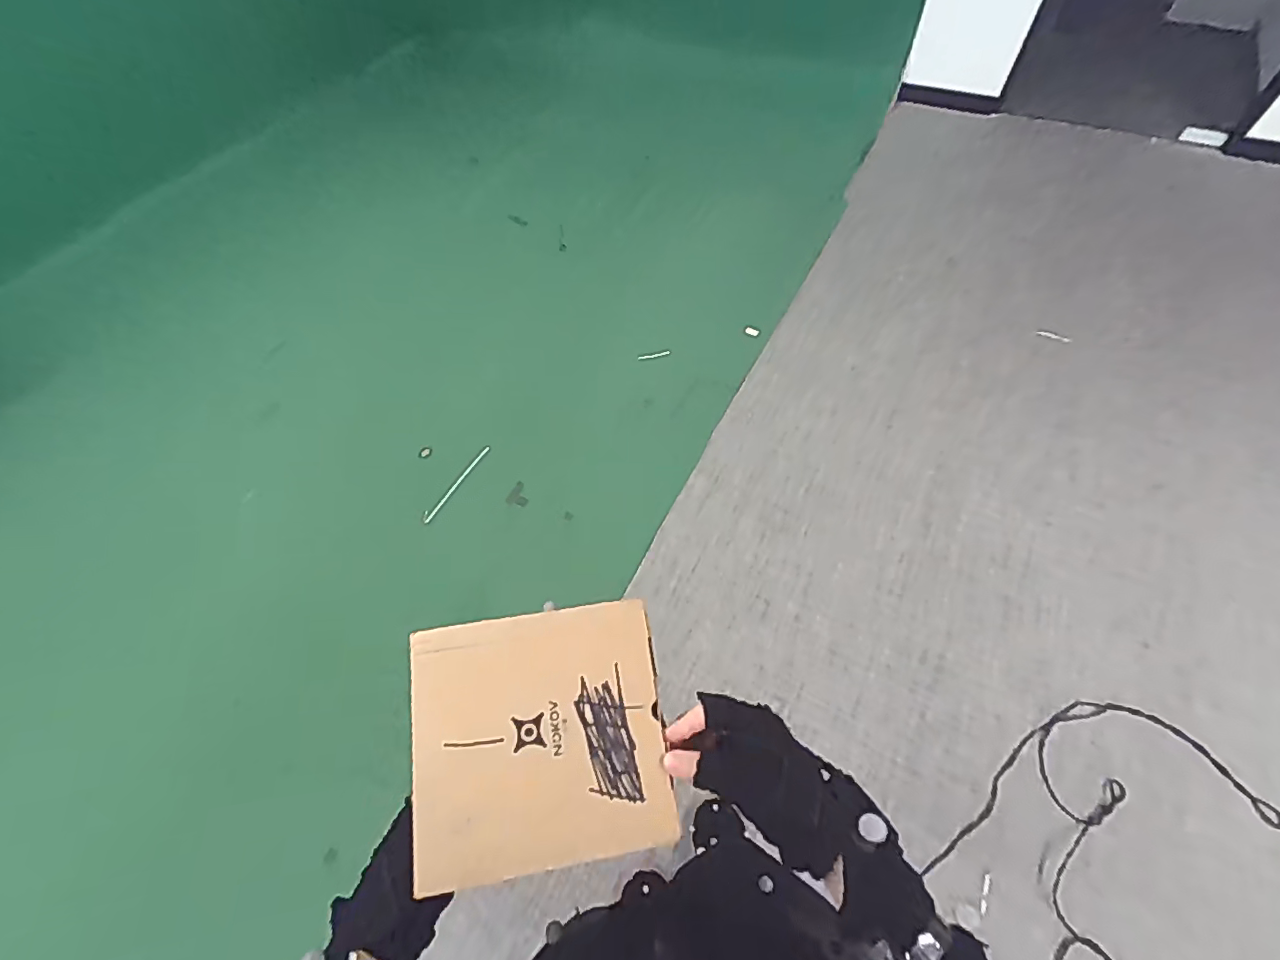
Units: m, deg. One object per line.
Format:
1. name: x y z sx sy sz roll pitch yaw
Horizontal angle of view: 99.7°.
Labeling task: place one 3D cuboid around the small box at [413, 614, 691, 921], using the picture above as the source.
1. small box: -0.071 0.211 0.440 0.179 0.176 0.168 -7 69 -8
